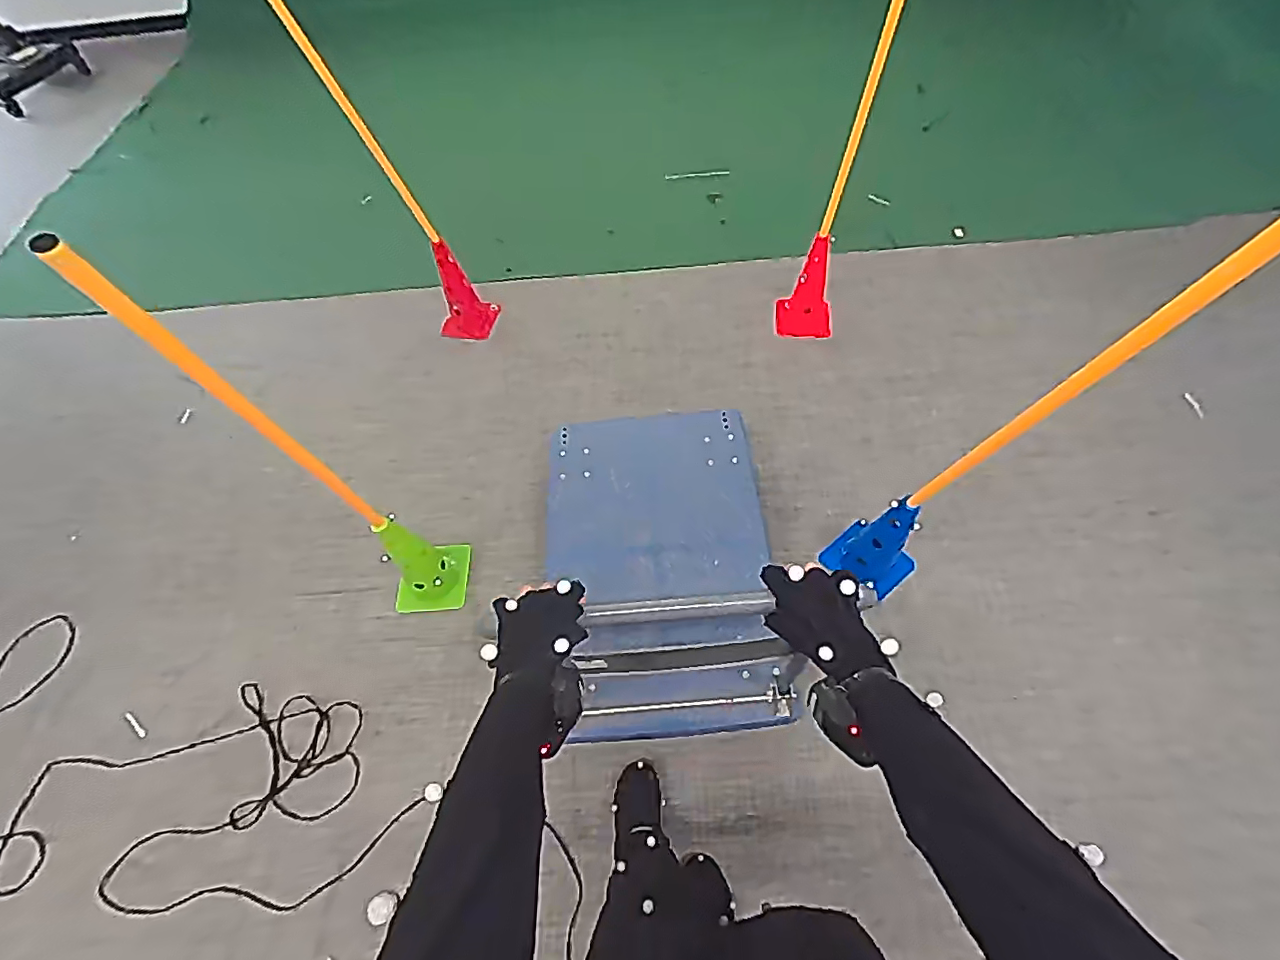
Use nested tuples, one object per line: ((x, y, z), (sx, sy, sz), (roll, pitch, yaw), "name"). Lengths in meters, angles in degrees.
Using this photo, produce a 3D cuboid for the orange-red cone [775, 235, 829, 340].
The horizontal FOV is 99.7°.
((0.599, -0.689, 1.897), (0.198, 0.360, 0.199), (5, 60, 8), "orange-red cone")
